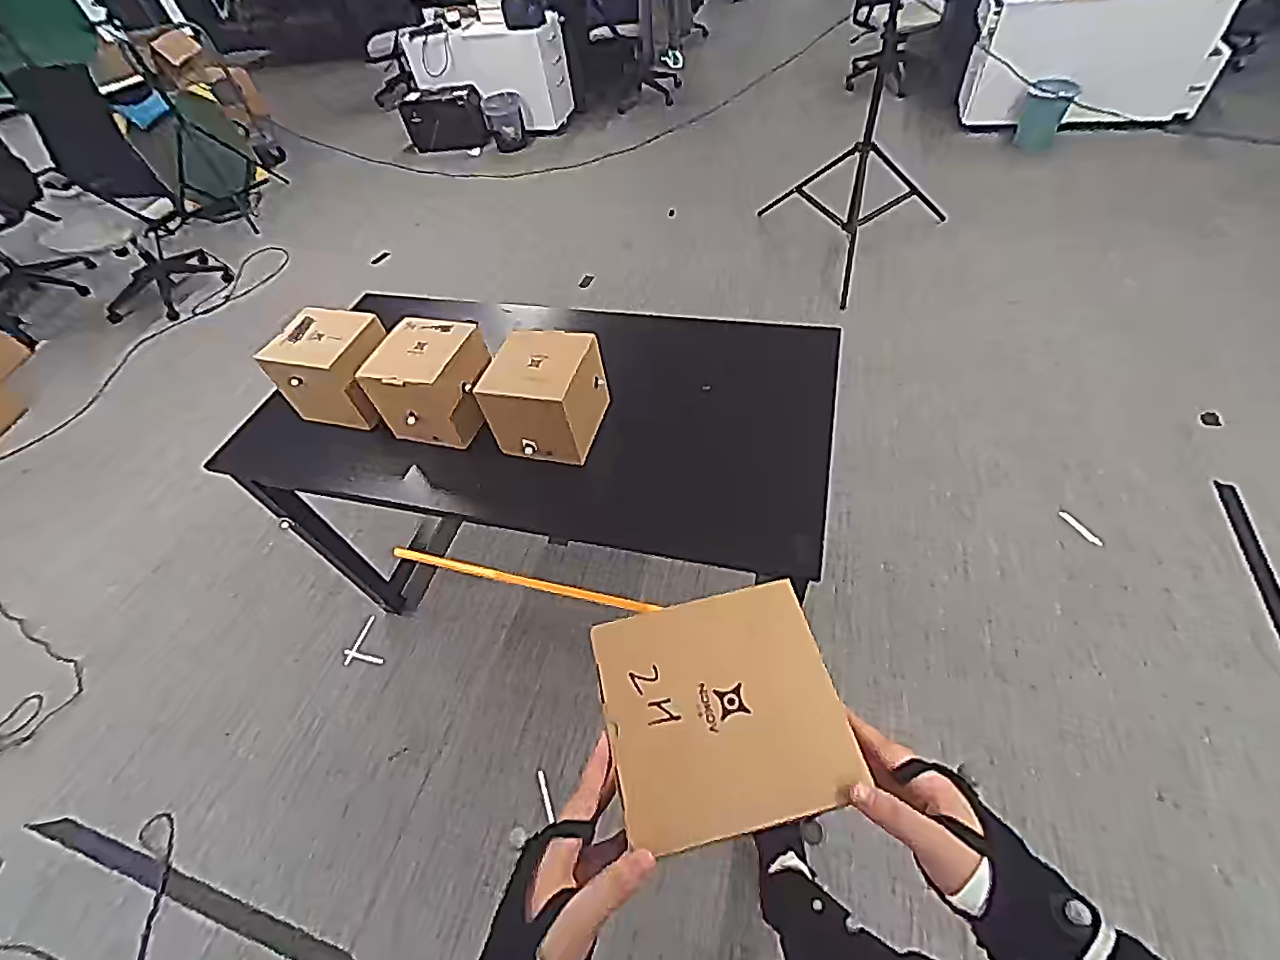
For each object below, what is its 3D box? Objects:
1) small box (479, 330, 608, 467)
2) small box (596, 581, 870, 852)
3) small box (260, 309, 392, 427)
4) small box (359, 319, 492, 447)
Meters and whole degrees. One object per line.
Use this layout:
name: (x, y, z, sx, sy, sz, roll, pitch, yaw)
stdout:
small box: (-0.165, -0.151, 0.999, 0.168, 0.176, 0.179, 8, 54, 15)
small box: (0.067, 0.213, 0.483, 0.179, 0.176, 0.168, -13, 56, -4)
small box: (-0.614, -0.229, 1.116, 0.179, 0.176, 0.168, 10, 55, 14)
small box: (-0.394, -0.186, 1.055, 0.168, 0.176, 0.179, 10, 55, 13)
